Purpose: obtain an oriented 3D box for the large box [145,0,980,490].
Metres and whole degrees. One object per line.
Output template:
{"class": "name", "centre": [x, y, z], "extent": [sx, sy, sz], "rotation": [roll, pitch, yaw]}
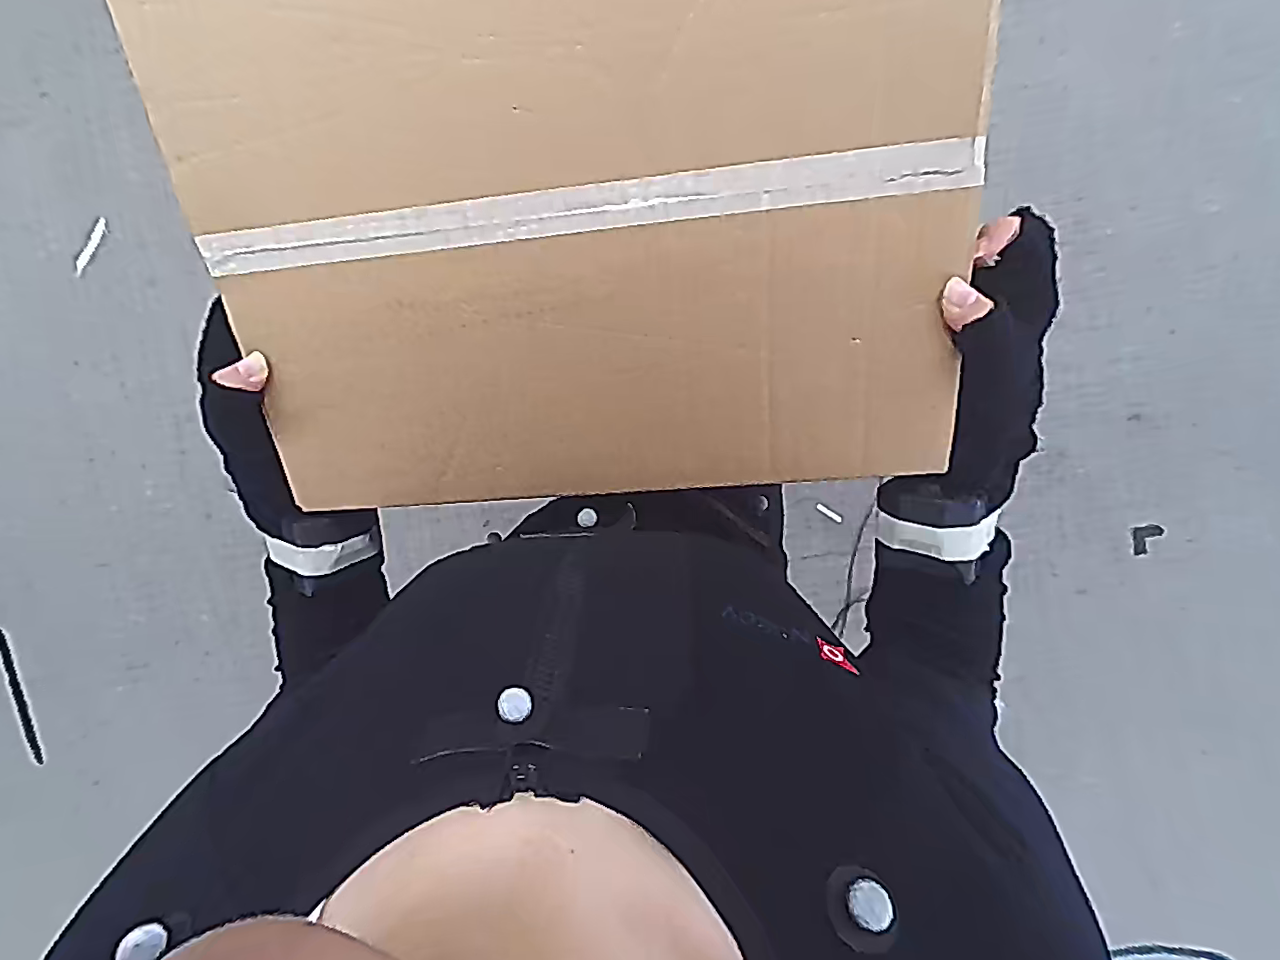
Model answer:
{"class": "large box", "centre": [-0.028, -0.204, 0.425], "extent": [0.408, 0.320, 0.320], "rotation": [-4, 113, 6]}
